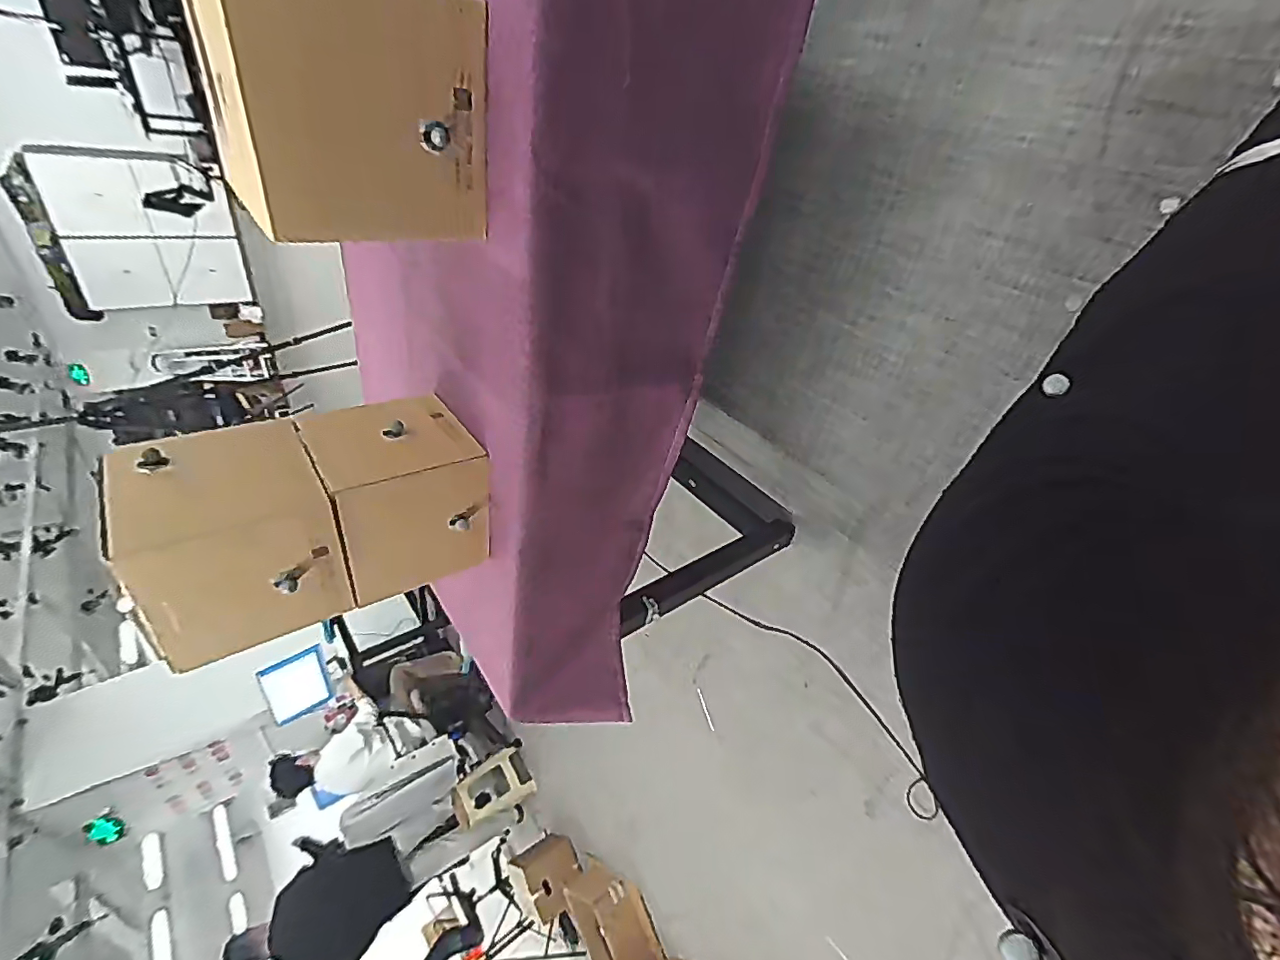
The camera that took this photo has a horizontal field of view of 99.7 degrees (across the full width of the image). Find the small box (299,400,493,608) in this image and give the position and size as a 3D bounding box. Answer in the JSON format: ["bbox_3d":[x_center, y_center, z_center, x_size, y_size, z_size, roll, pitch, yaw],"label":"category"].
[{"bbox_3d":[-0.294,0.018,0.673,0.168,0.176,0.179,41,134,36],"label":"small box"}]

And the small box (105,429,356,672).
[{"bbox_3d":[-0.425,0.060,0.579,0.179,0.176,0.168,42,136,34],"label":"small box"}]
